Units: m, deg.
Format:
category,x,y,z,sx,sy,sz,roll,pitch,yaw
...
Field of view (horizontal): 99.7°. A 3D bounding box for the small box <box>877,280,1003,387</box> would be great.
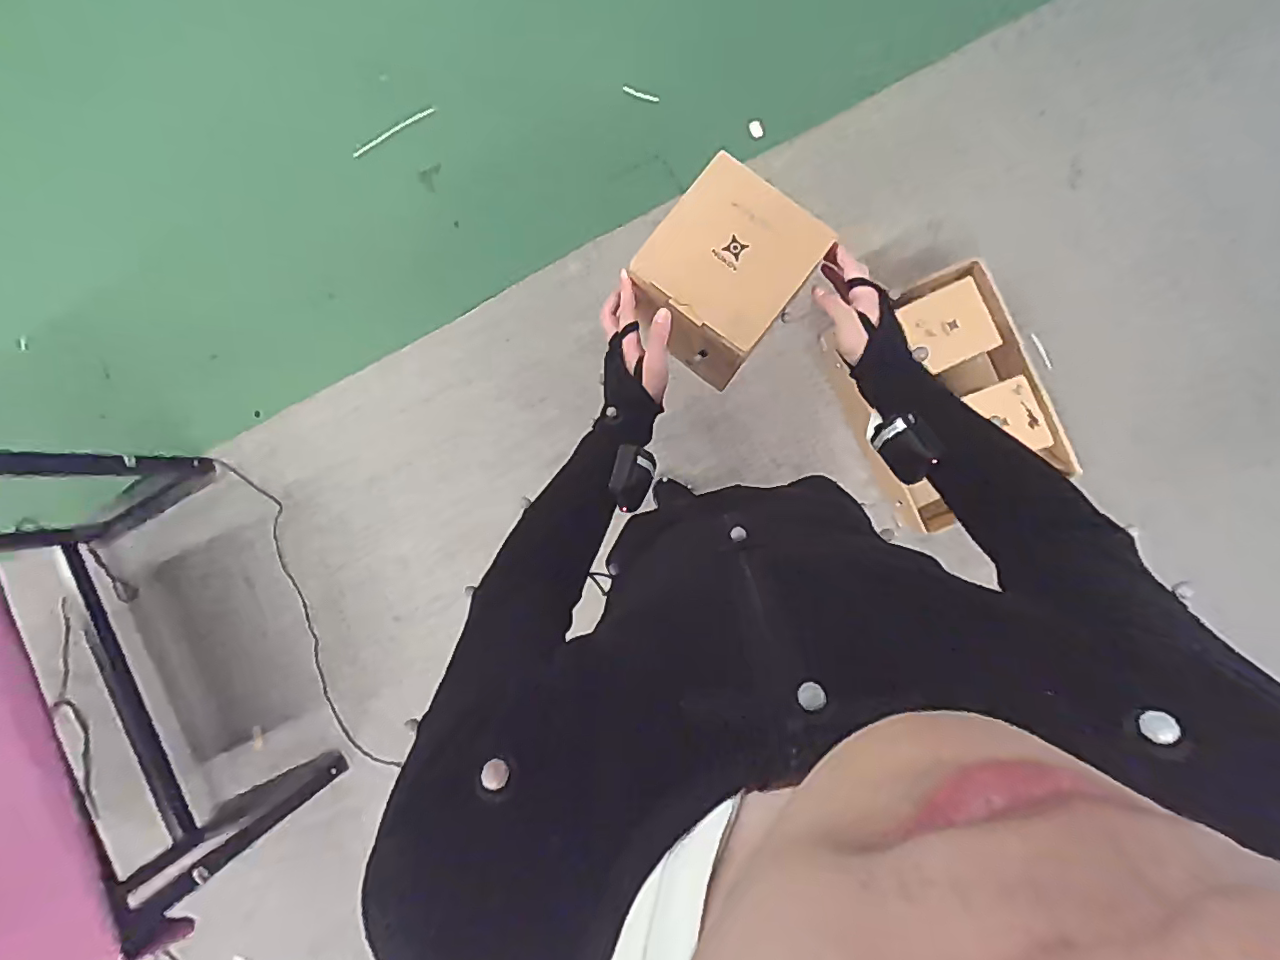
category,x,y,z,sx,sy,sz,roll,pitch,yaw
small box,0.688,-0.332,1.261,0.179,0.176,0.168,-23,87,7
